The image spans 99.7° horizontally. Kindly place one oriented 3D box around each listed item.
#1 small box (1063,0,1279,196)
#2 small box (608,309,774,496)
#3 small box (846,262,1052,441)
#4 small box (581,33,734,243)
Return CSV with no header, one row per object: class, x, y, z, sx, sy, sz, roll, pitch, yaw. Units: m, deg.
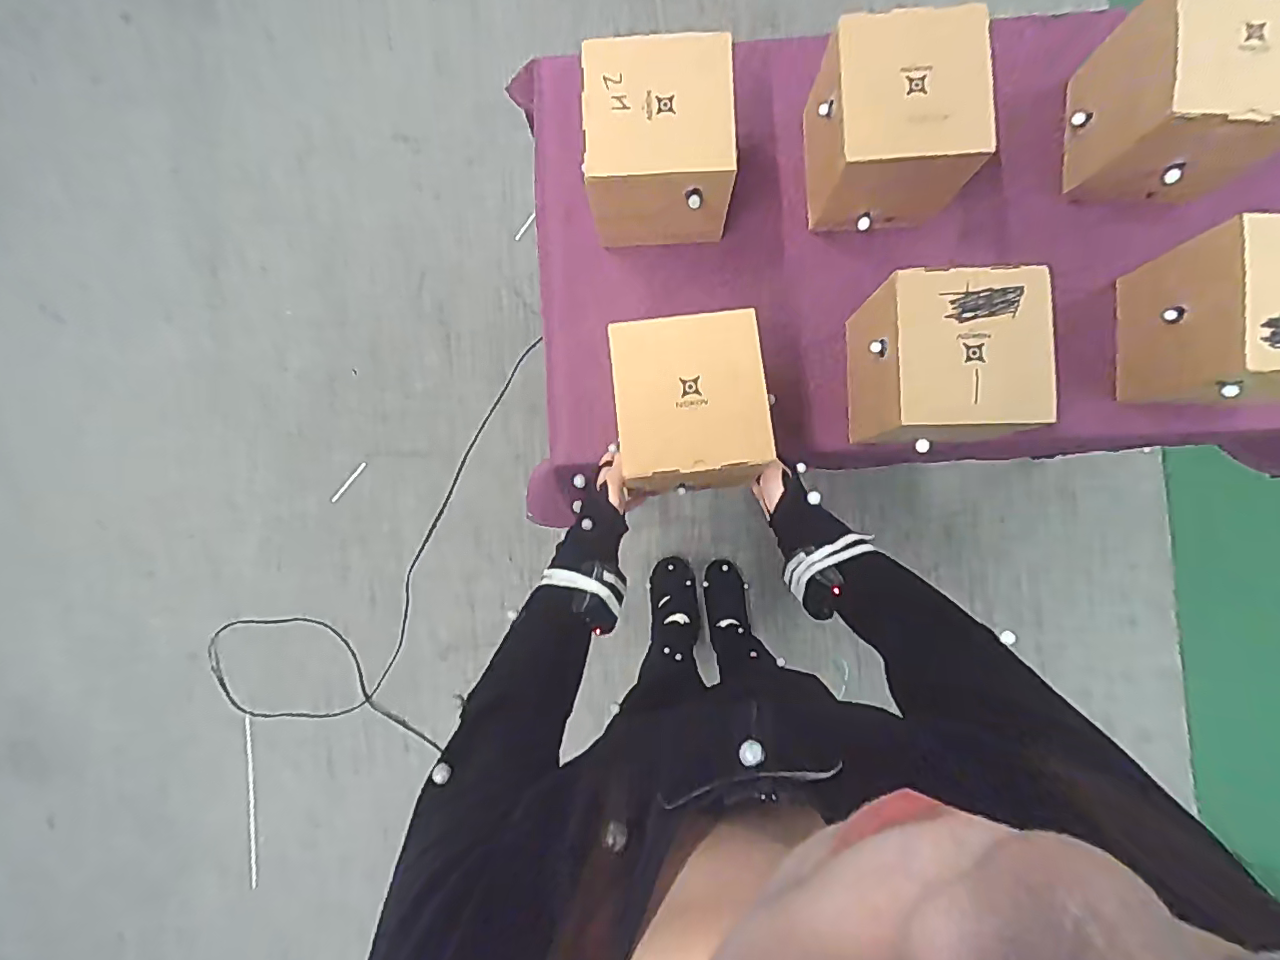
small box,0.663,-0.477,0.664,0.168,0.176,0.179,4,88,3
small box,0.054,-0.084,0.663,0.168,0.176,0.179,-7,81,0
small box,0.362,-0.145,0.664,0.168,0.176,0.179,-1,87,4
small box,0.022,-0.425,0.699,0.179,0.176,0.168,-2,87,3
